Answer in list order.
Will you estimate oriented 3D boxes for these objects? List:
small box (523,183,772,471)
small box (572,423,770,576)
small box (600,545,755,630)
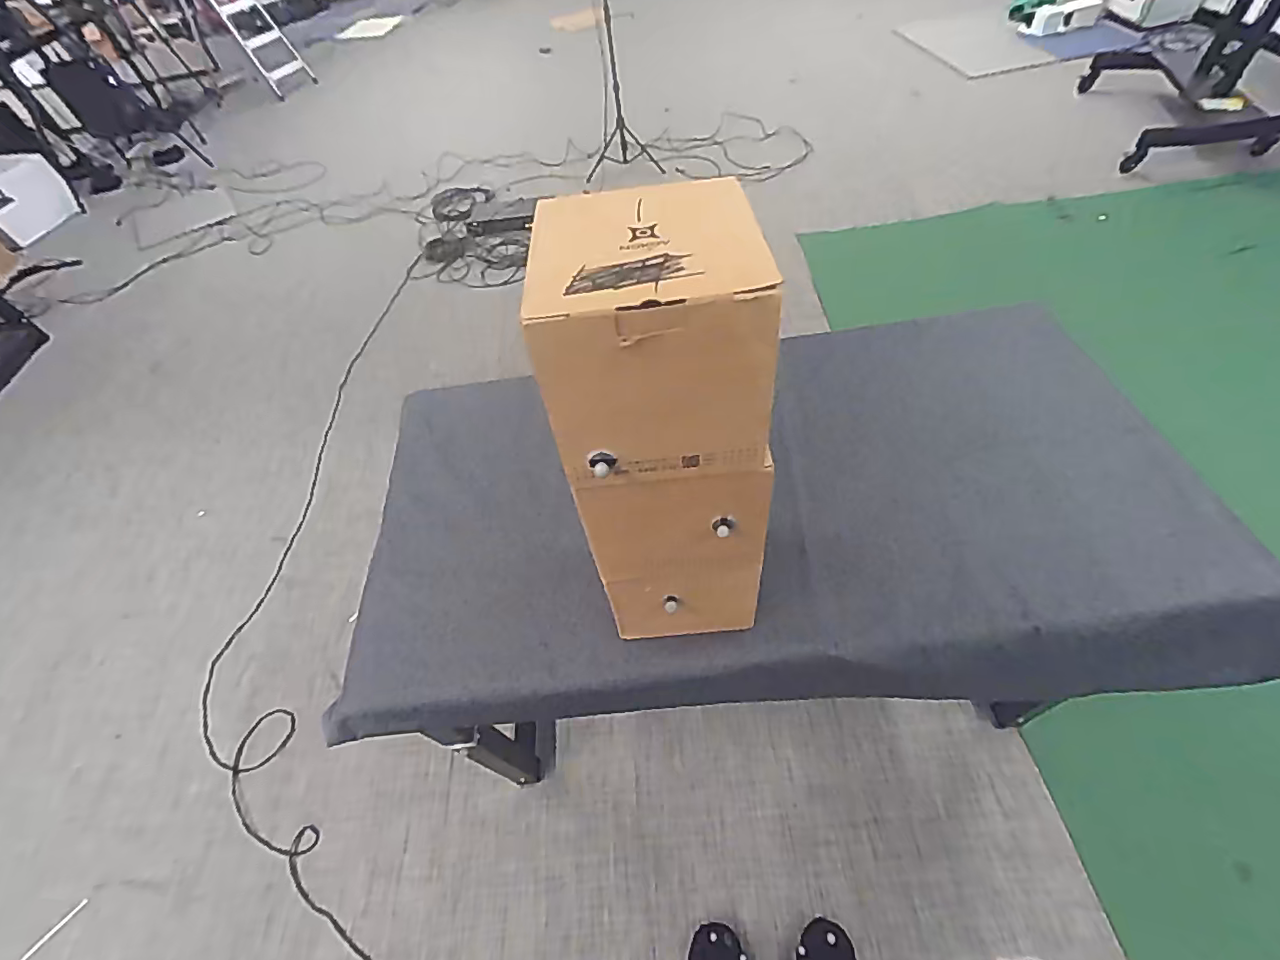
[{"bbox_3d":[0.010,-0.120,0.458,0.168,0.176,0.179,-5,49,2],"label":"small box"},{"bbox_3d":[0.031,-0.013,0.581,0.179,0.176,0.168,-7,49,4],"label":"small box"},{"bbox_3d":[0.049,0.085,0.709,0.179,0.176,0.168,-6,51,3],"label":"small box"}]
